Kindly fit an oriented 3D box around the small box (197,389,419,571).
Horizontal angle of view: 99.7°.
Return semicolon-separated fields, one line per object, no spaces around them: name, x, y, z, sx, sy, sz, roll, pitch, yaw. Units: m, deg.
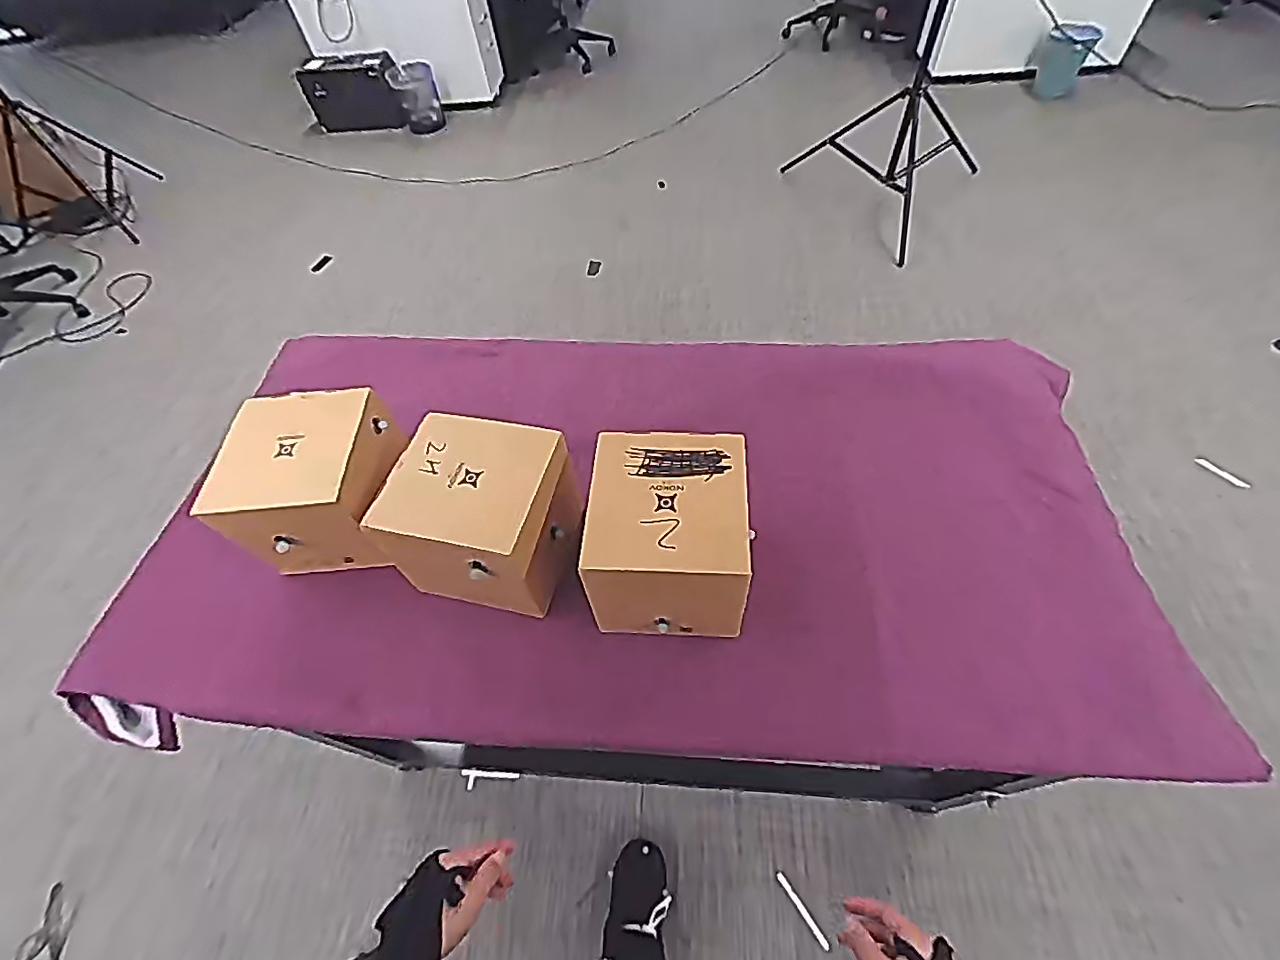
small box;-0.410;0.009;0.708;0.168;0.176;0.179;-6;55;1
